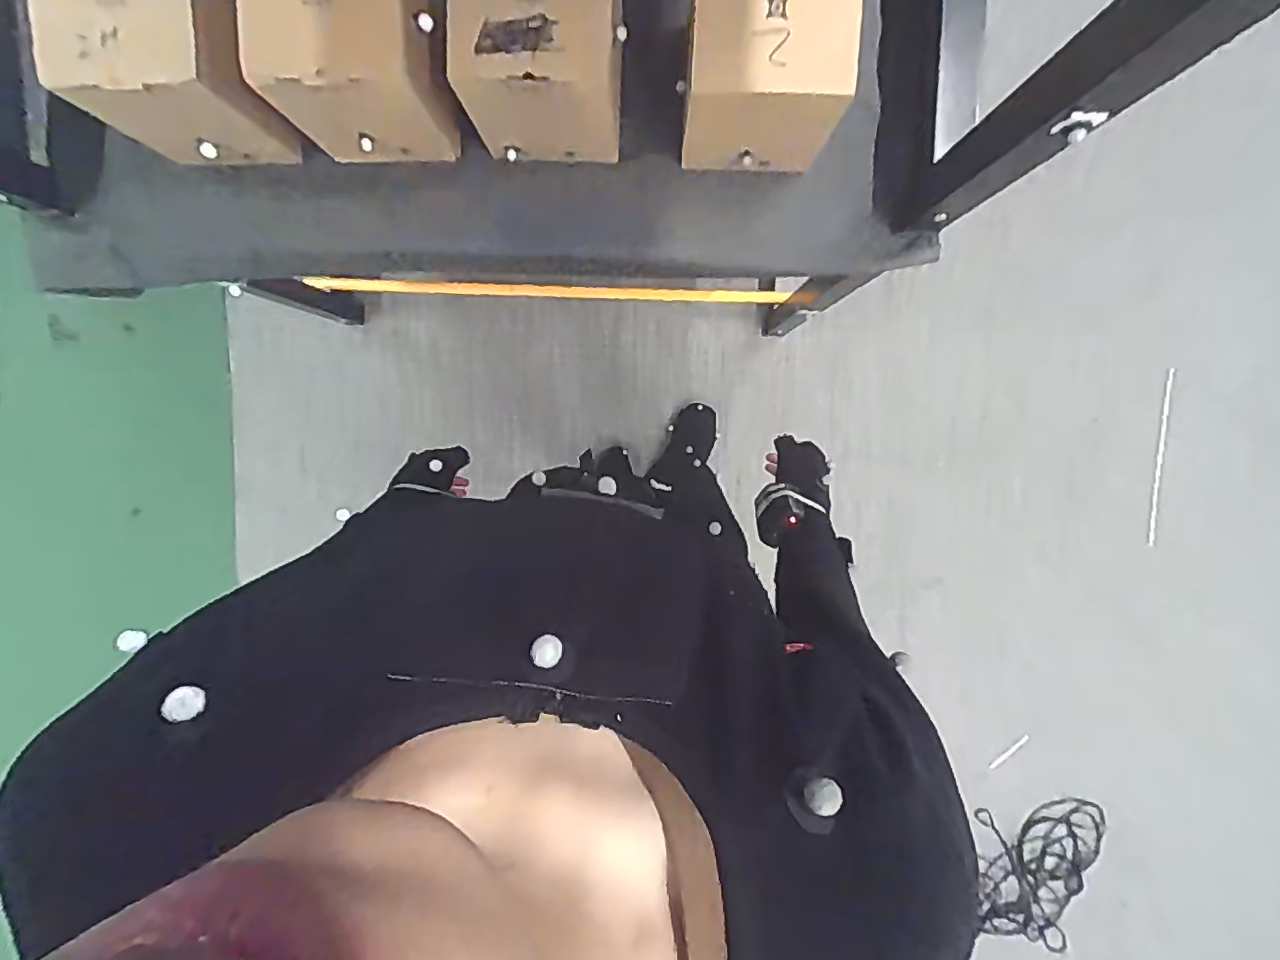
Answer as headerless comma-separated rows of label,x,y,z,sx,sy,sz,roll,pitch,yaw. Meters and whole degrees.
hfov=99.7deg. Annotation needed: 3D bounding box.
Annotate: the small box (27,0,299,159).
small box,-0.522,-0.497,0.614,0.168,0.176,0.179,-1,96,1
